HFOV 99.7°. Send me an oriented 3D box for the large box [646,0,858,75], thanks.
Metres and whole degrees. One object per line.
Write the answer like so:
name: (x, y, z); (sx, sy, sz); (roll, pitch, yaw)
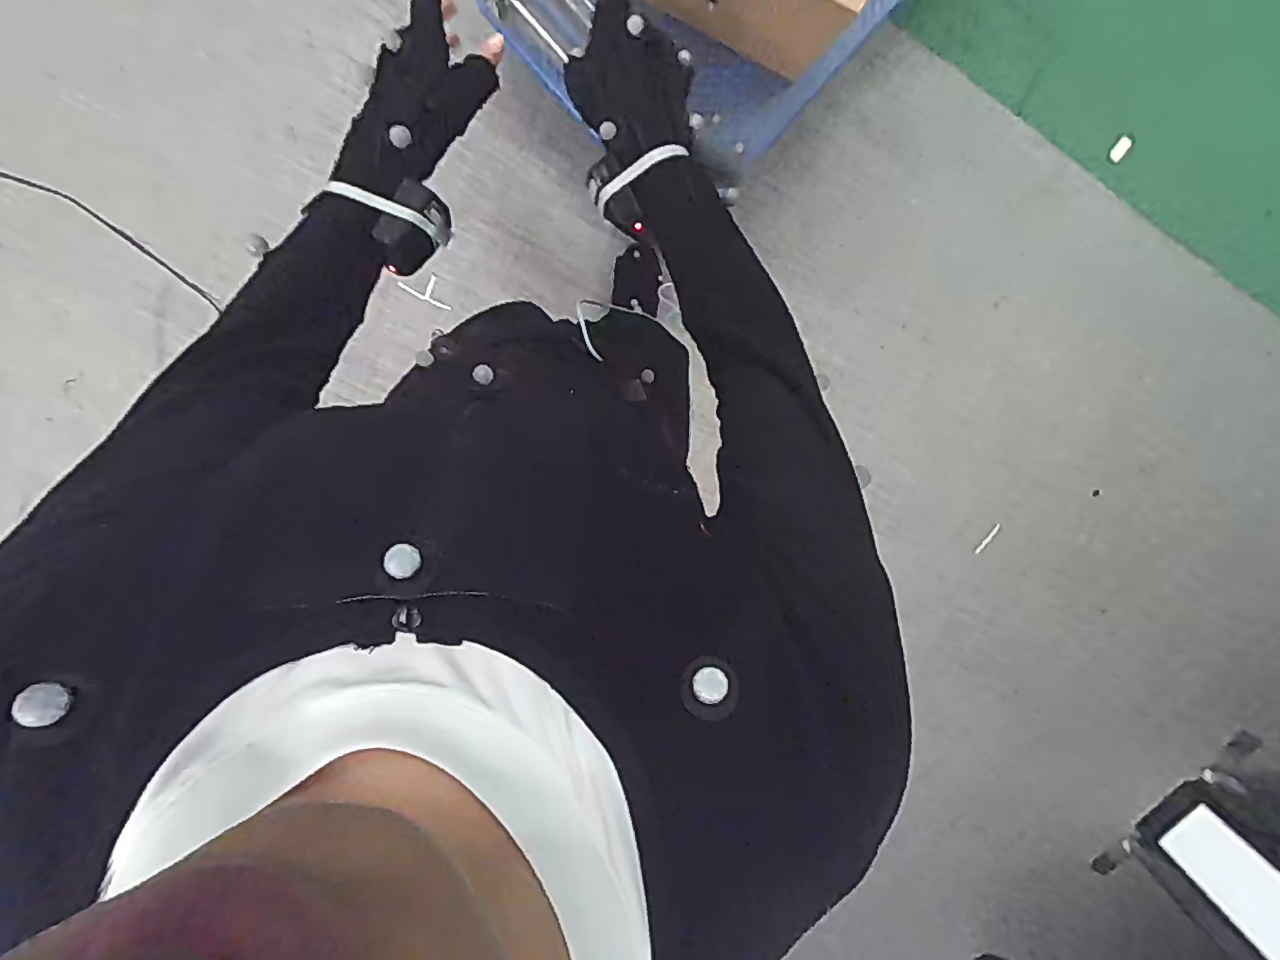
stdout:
large box: (0.176, -0.920, 0.830); (0.408, 0.320, 0.320); (21, 109, -9)
